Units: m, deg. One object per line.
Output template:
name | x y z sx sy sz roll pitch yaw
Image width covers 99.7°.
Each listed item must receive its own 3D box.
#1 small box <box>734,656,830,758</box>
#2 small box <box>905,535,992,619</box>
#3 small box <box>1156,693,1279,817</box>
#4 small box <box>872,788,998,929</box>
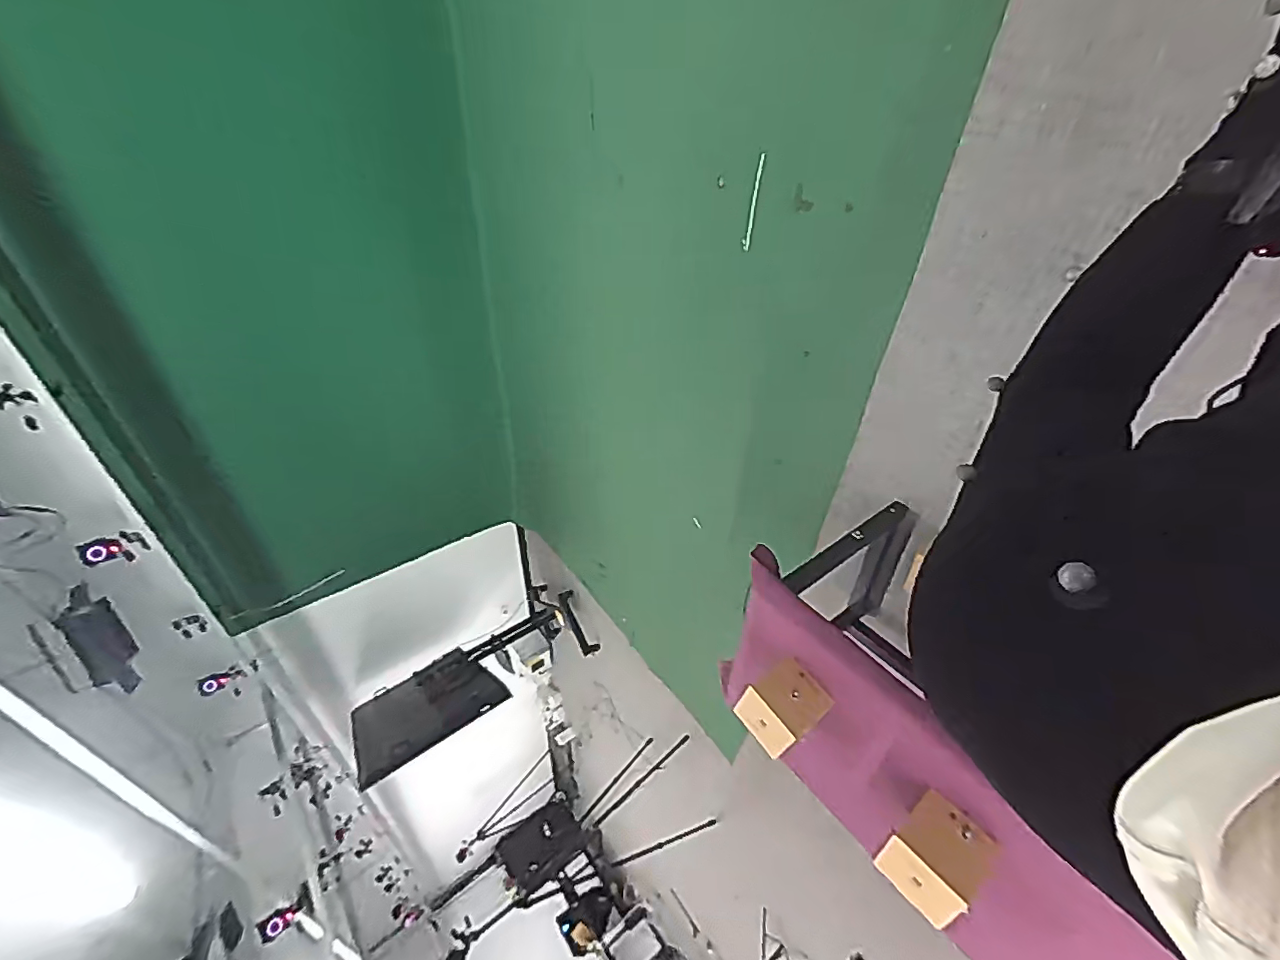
small box | 0.393 0.620 1.492 0.168 0.176 0.179 47 145 30
small box | 1.004 0.308 1.755 0.168 0.176 0.179 38 141 40
small box | 1.433 0.662 1.315 0.179 0.176 0.168 40 142 38
small box | 0.664 0.846 1.218 0.168 0.176 0.179 38 140 39
